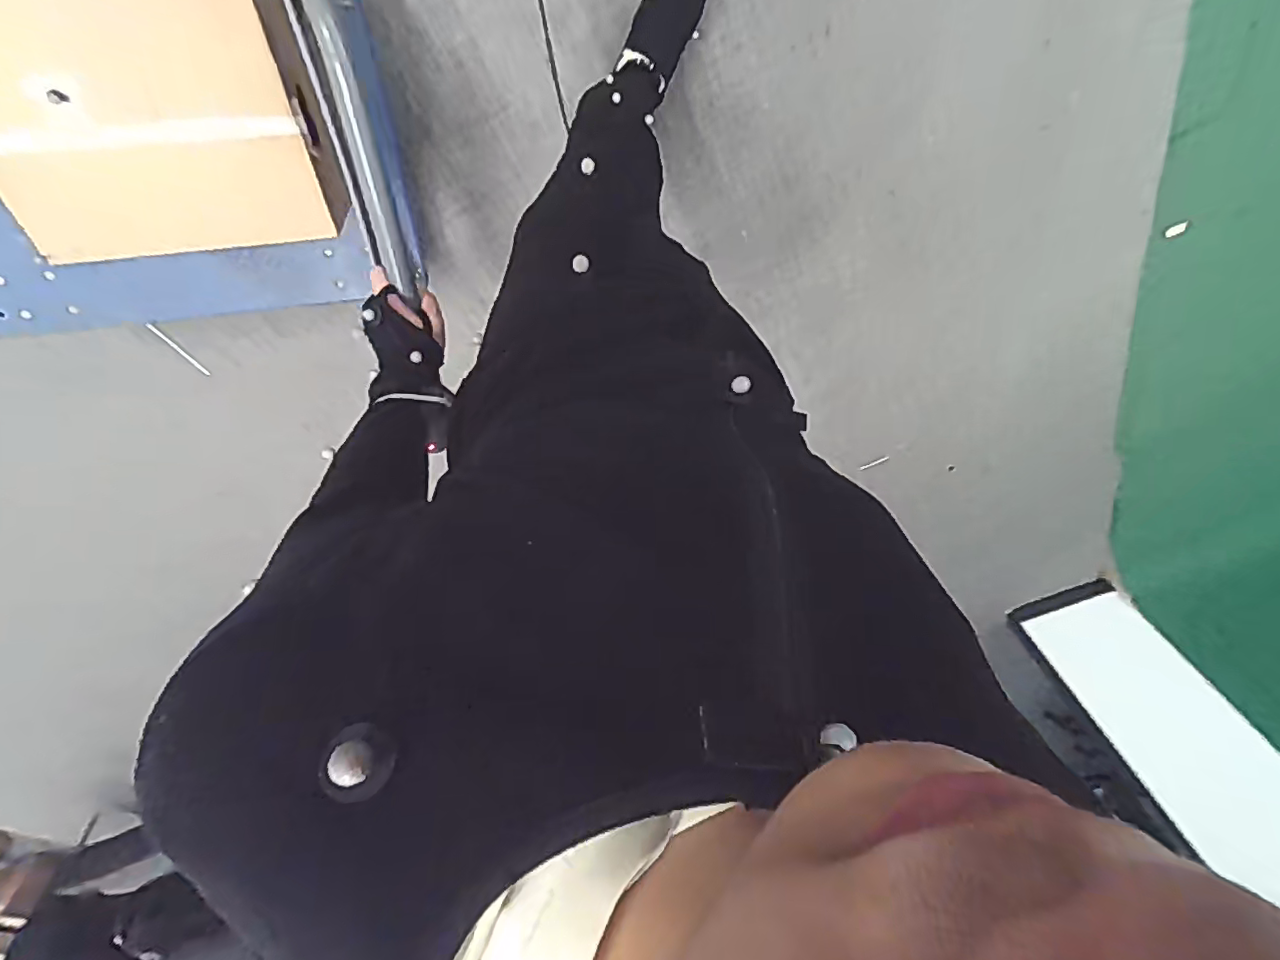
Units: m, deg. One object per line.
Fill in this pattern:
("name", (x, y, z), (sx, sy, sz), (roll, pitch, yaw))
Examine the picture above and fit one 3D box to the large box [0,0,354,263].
("large box", (-0.727, -0.573, 0.848), (0.408, 0.320, 0.320), (-12, 132, -12))
